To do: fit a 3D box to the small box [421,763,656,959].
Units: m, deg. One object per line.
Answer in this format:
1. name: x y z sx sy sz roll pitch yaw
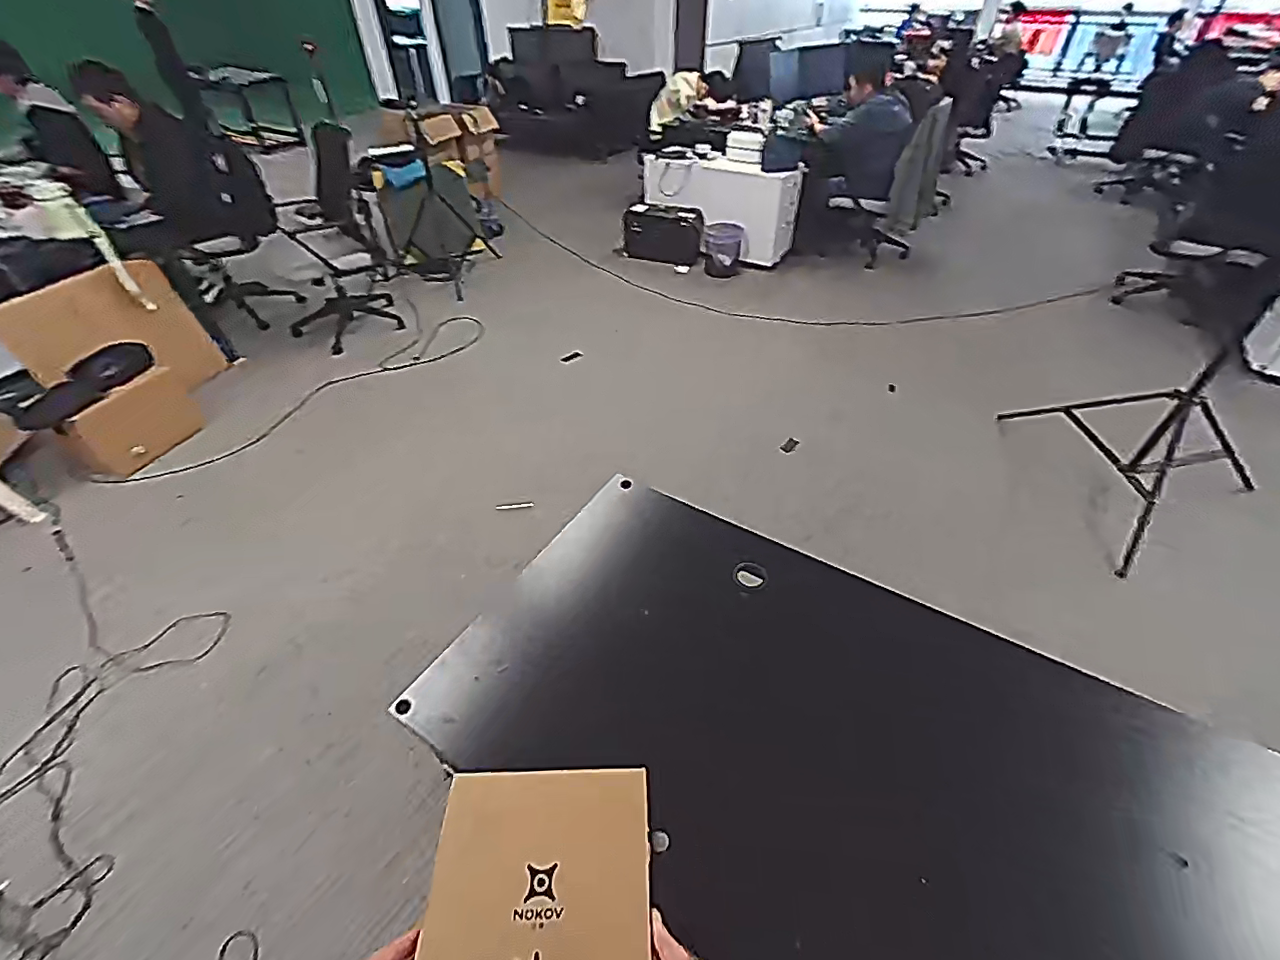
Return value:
1. small box: -0.071 0.365 0.458 0.168 0.176 0.179 -1 43 0
